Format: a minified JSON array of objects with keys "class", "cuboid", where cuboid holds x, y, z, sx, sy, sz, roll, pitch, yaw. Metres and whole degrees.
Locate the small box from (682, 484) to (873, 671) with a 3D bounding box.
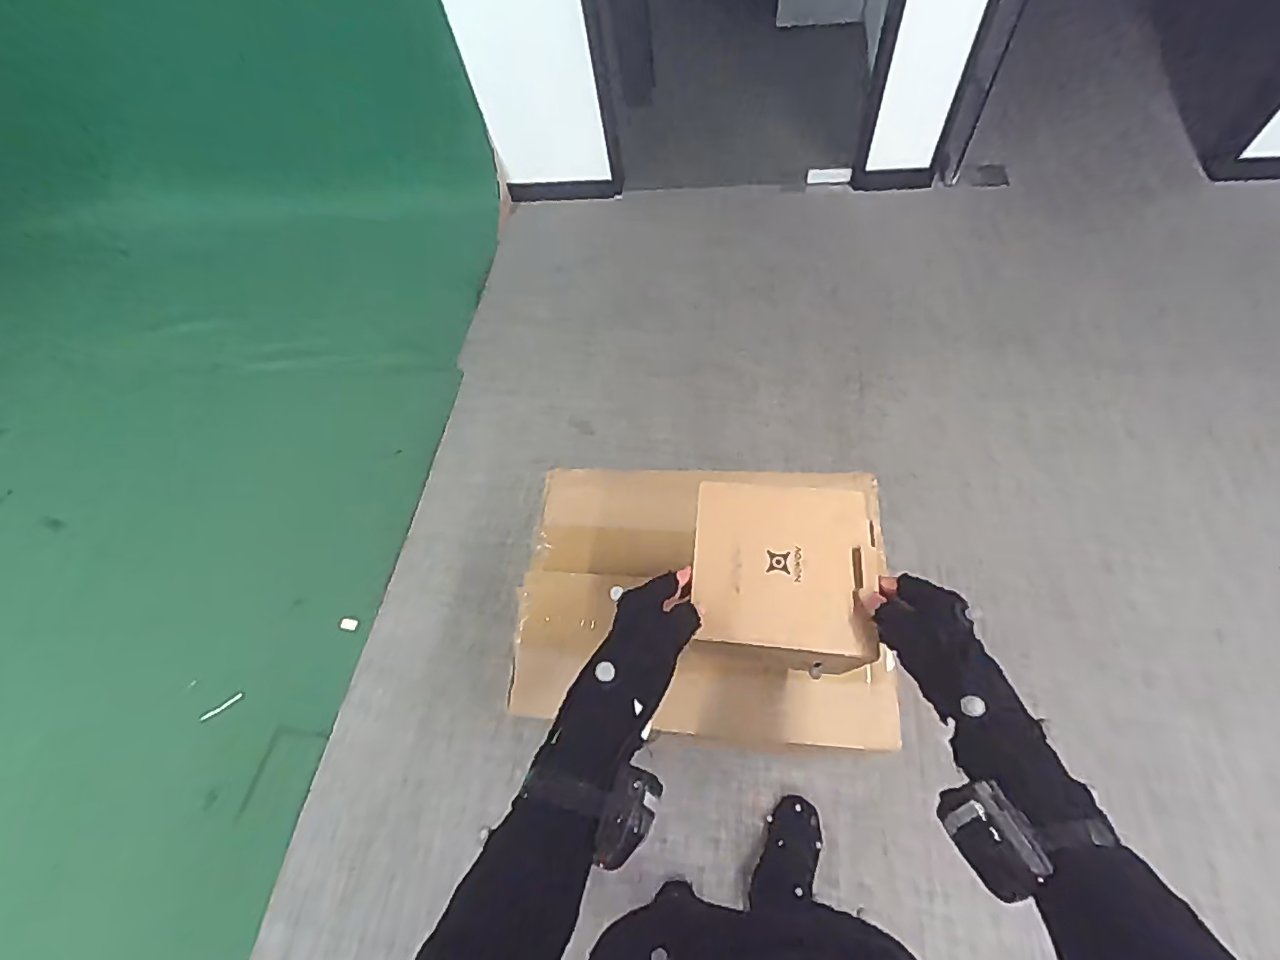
[{"class":"small box","cuboid":[0.144,0.115,0.604,0.179,0.176,0.168,2,65,10]}]
